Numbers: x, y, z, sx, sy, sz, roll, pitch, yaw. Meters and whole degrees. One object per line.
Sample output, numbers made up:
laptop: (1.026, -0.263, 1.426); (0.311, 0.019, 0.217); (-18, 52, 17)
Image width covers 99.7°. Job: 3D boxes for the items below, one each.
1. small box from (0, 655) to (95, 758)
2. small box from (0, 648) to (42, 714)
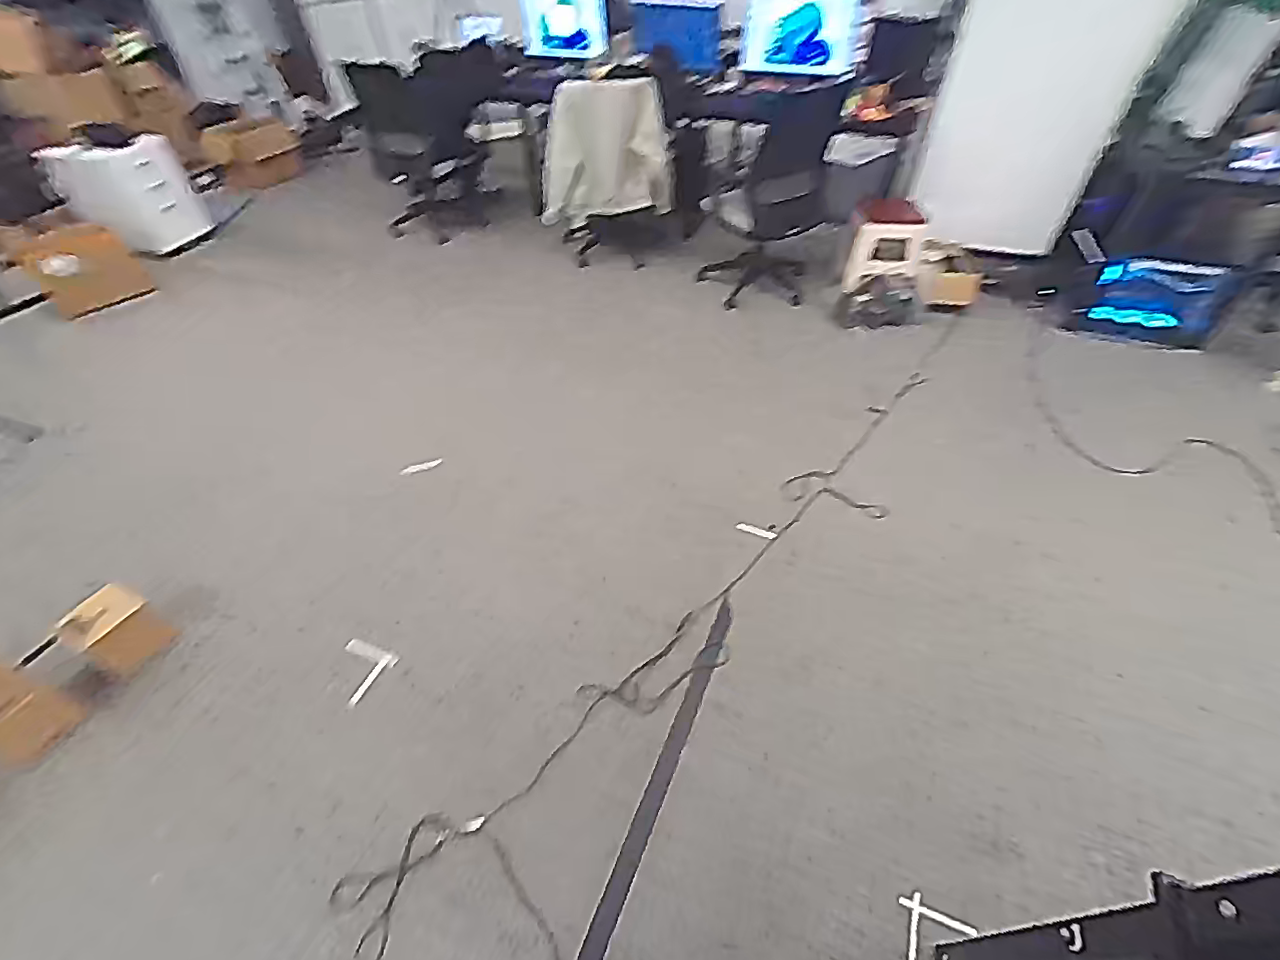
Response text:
small box: (-1.623, 0.600, 1.423); (0.179, 0.176, 0.168); (20, 50, 19)
small box: (-1.636, 0.486, 1.305); (0.179, 0.176, 0.168); (16, 49, 18)
